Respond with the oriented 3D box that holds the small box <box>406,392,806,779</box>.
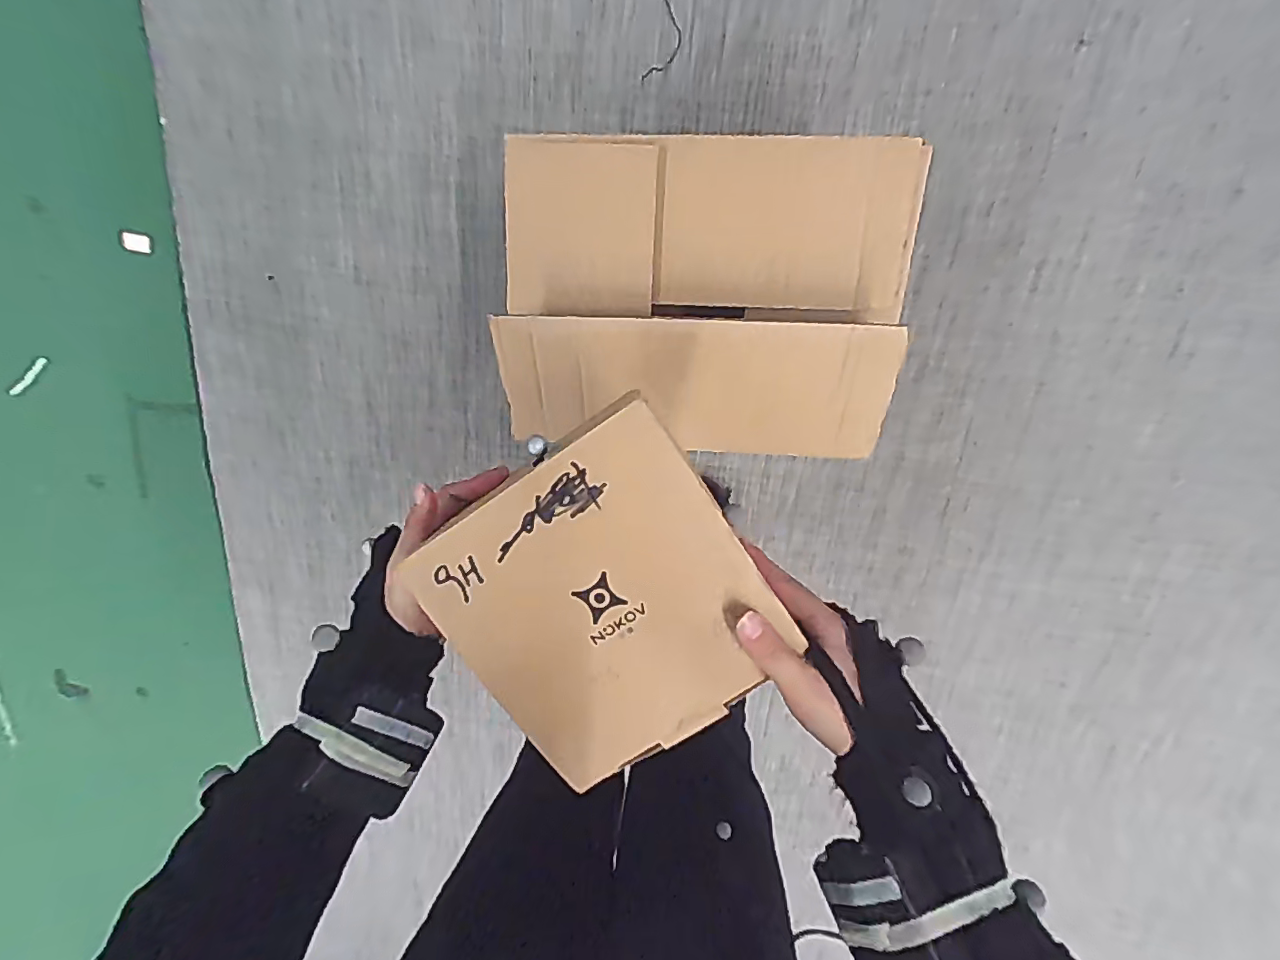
[{"bbox_3d":[-0.017,0.053,0.381,0.168,0.176,0.179,-34,101,5],"label":"small box"}]
